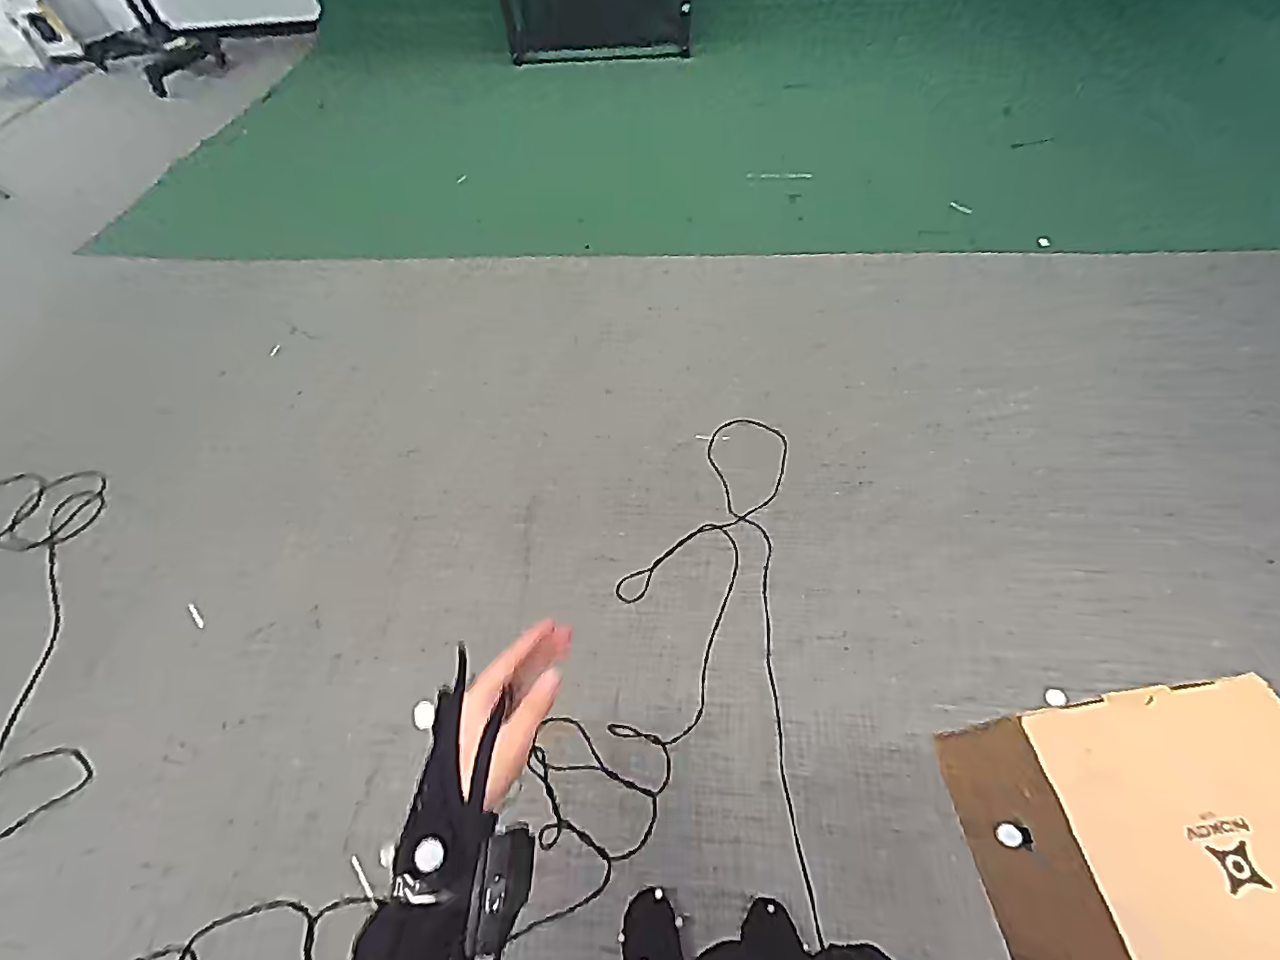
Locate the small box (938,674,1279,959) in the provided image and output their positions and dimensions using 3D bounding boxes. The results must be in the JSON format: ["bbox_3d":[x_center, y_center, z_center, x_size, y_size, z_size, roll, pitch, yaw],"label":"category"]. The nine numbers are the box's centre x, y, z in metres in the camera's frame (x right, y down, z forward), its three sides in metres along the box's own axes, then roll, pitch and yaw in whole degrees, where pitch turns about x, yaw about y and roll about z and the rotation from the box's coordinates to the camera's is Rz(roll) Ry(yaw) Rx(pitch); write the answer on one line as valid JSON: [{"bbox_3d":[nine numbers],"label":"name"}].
[{"bbox_3d":[0.353,0.259,0.392,0.168,0.176,0.179,-11,59,1],"label":"small box"}]
